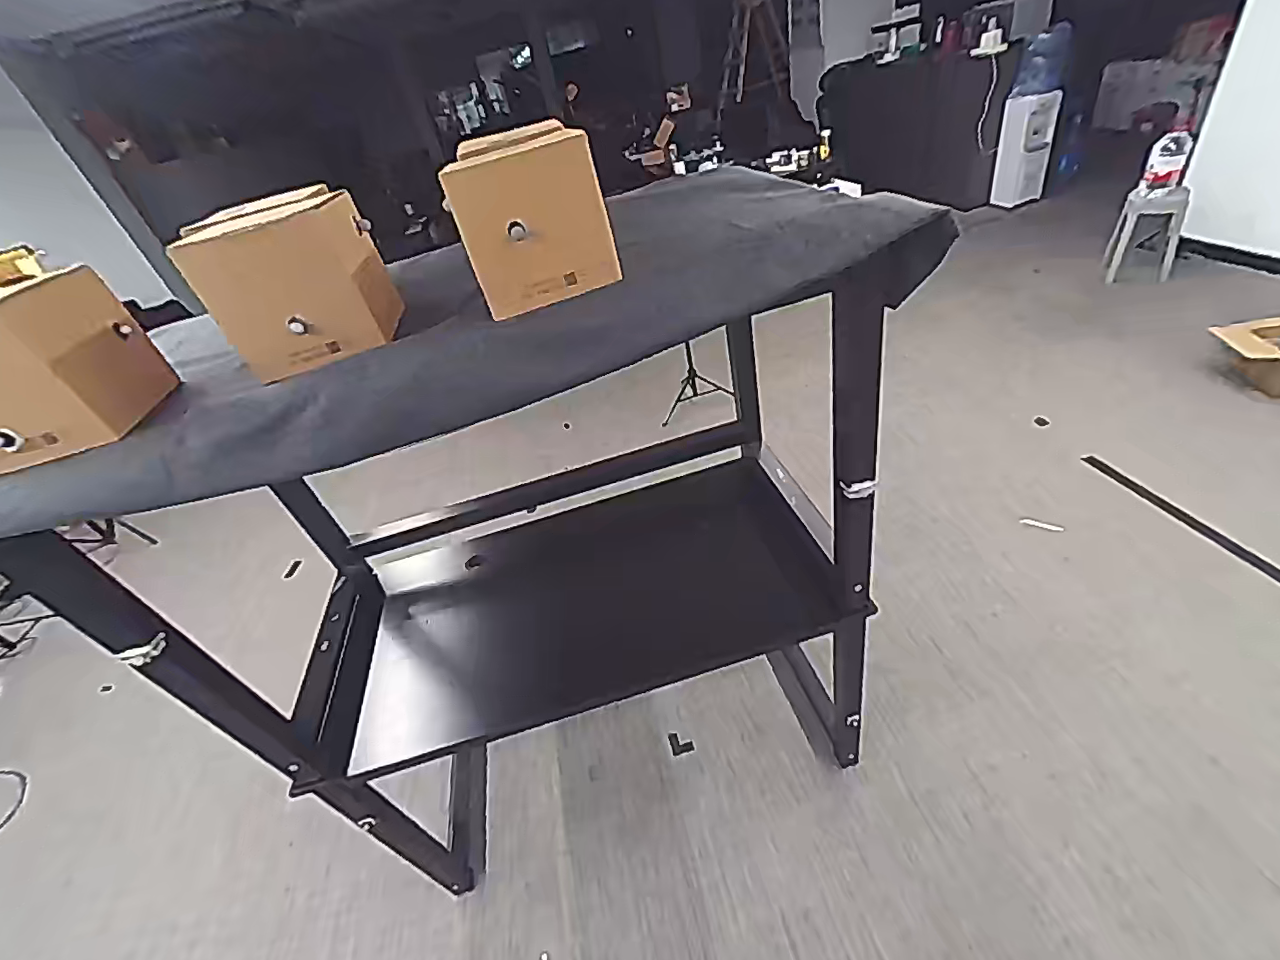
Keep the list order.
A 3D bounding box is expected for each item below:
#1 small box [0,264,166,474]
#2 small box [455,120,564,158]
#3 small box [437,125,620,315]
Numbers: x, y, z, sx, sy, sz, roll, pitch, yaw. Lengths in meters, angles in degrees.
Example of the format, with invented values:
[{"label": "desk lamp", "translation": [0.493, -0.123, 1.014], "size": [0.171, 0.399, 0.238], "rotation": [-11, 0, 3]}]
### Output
[{"label": "small box", "translation": [-0.712, -0.126, 0.624], "size": [0.168, 0.176, 0.179], "rotation": [-19, 37, -4]}, {"label": "small box", "translation": [-0.190, -0.478, 0.896], "size": [0.168, 0.176, 0.179], "rotation": [-18, 37, -3]}, {"label": "small box", "translation": [-0.133, -0.322, 0.674], "size": [0.168, 0.176, 0.179], "rotation": [-18, 35, -3]}]
